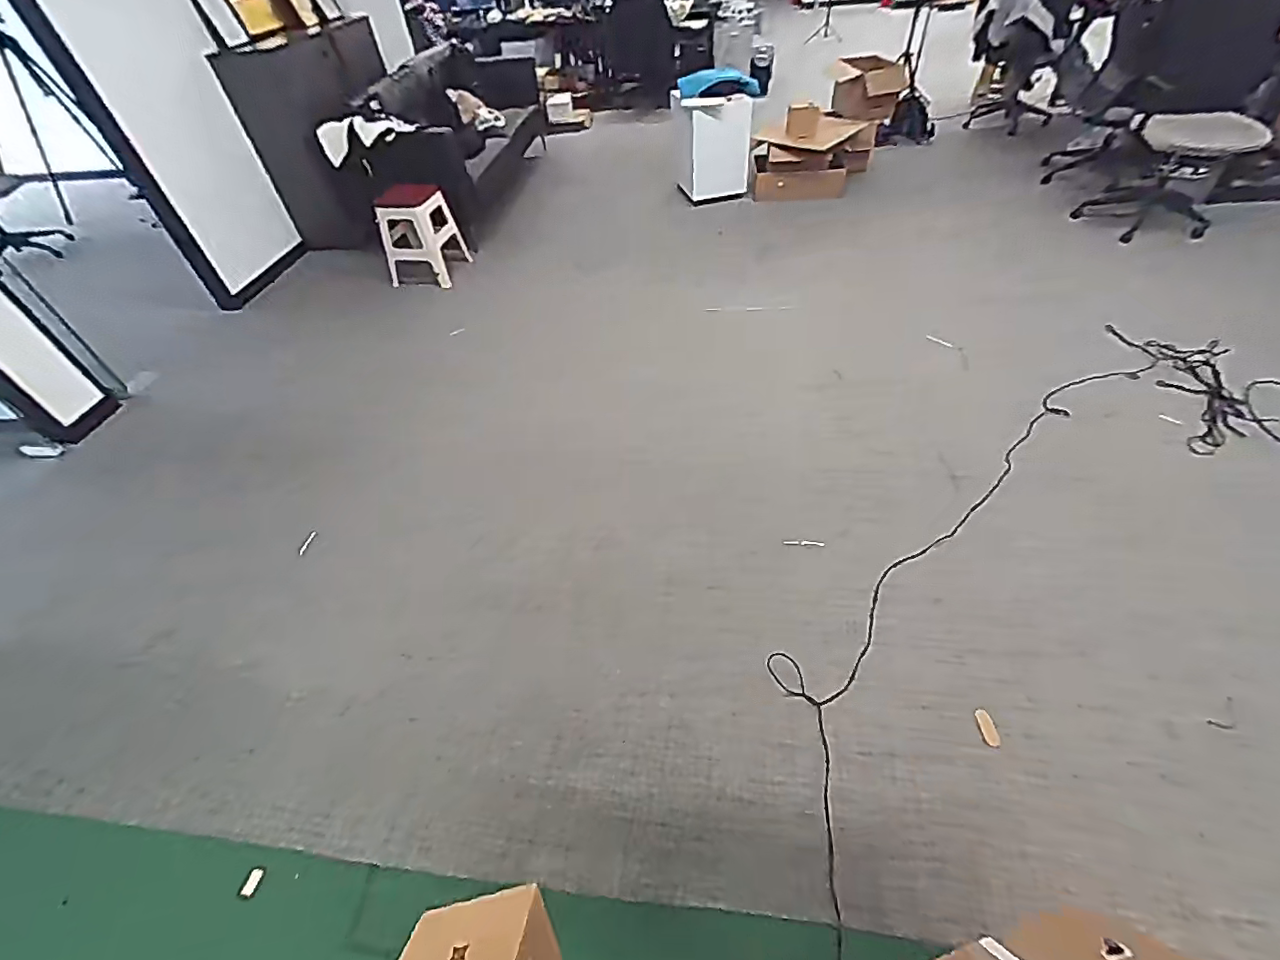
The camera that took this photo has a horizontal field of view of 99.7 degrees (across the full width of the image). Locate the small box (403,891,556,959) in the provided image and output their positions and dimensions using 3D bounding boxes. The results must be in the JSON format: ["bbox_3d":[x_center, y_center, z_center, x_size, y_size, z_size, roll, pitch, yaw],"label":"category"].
[{"bbox_3d":[-0.195,0.654,0.647,0.168,0.176,0.179,-16,1,3],"label":"small box"}]
